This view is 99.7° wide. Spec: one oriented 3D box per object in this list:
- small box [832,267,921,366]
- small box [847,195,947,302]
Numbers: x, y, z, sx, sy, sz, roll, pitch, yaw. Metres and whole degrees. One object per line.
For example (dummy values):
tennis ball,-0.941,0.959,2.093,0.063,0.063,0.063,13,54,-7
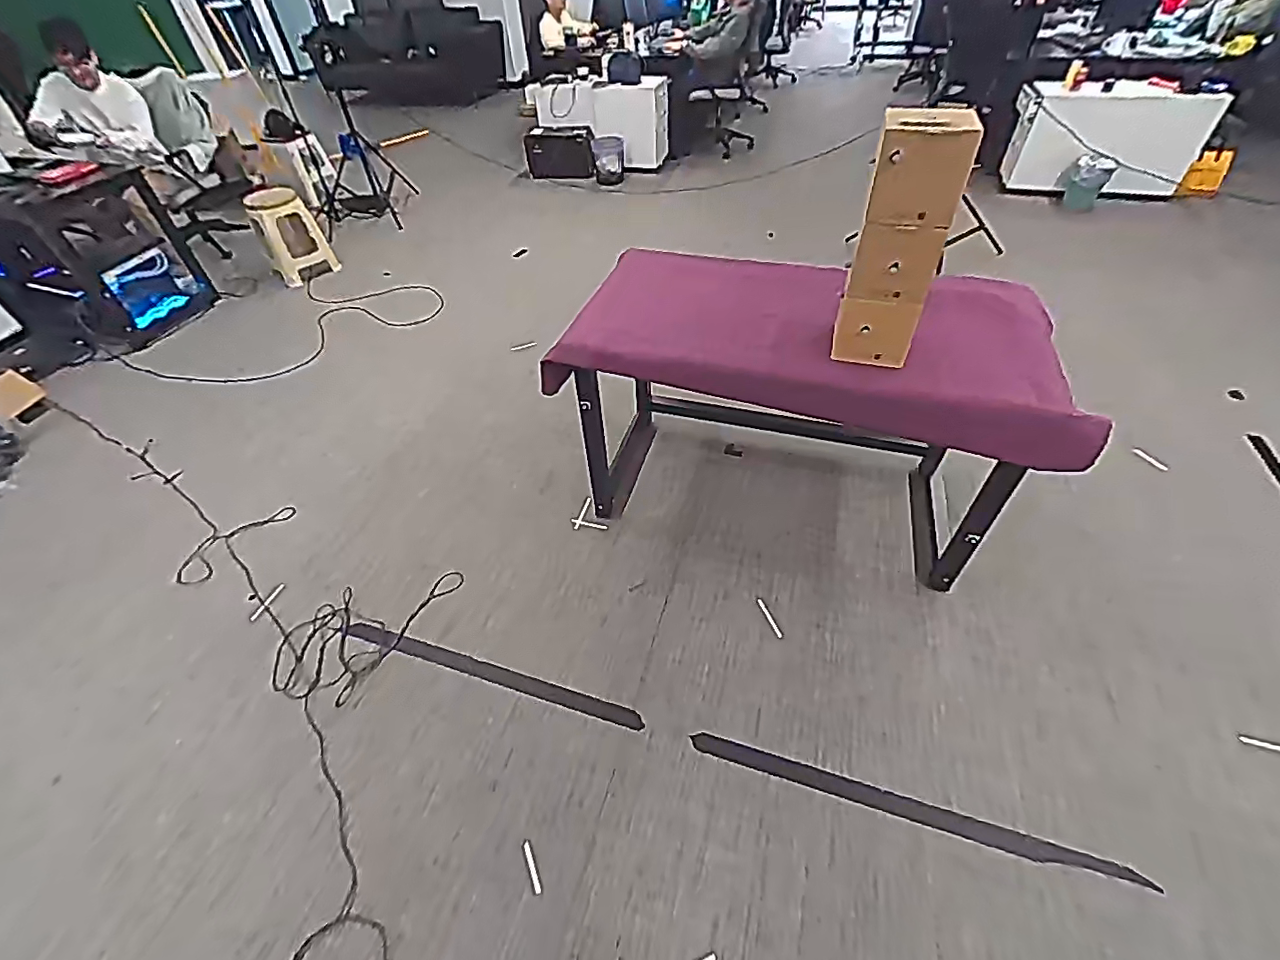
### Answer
small box,0.573,-0.399,1.322,0.168,0.176,0.179,11,47,14
small box,0.568,-0.516,1.208,0.168,0.176,0.179,12,48,15
